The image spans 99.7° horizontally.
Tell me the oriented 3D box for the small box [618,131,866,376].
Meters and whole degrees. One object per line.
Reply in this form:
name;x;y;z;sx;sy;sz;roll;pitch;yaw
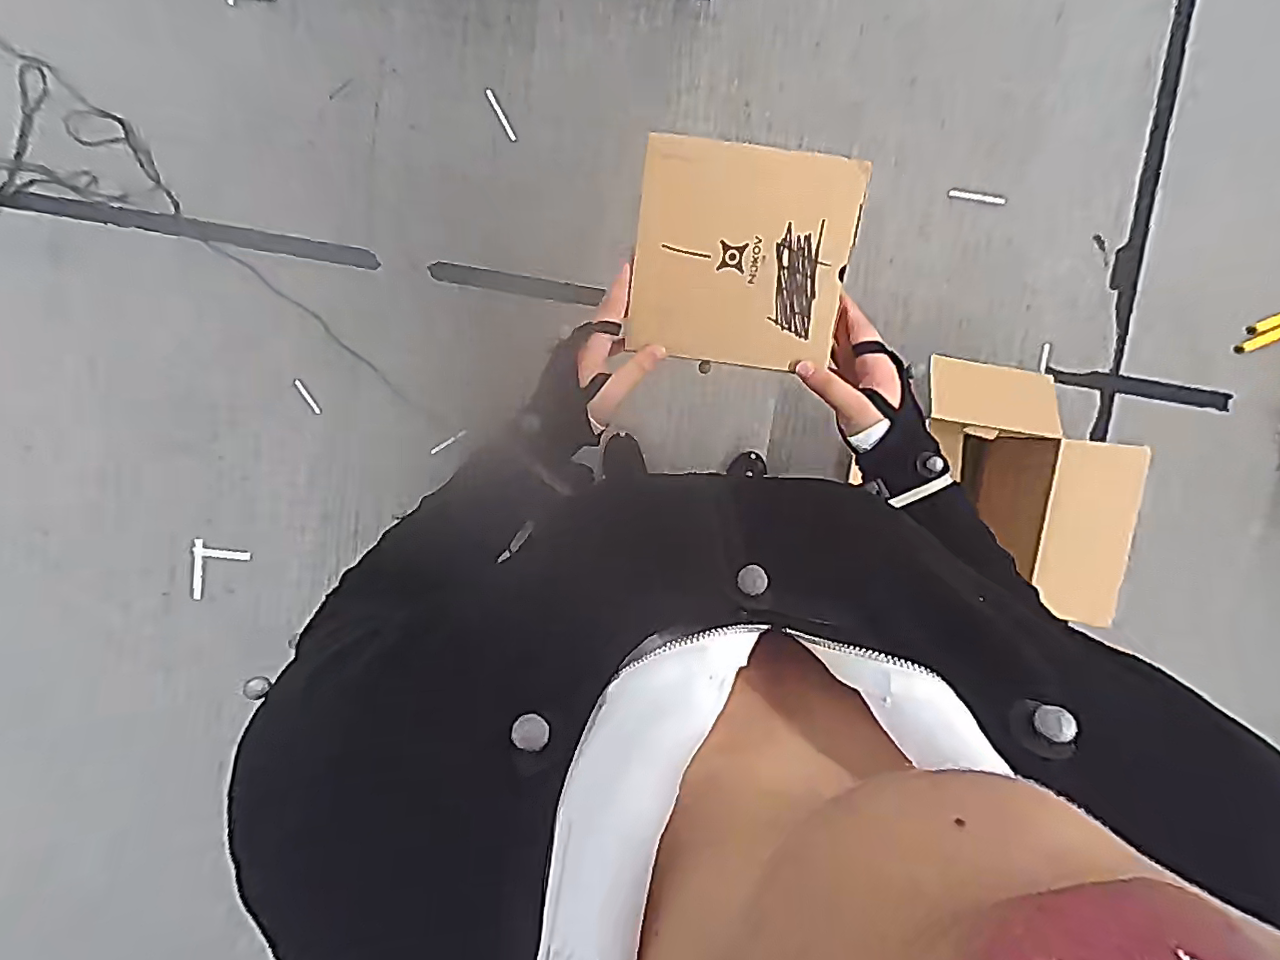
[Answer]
small box;0.079;-0.200;0.511;0.179;0.176;0.168;7;106;-1
